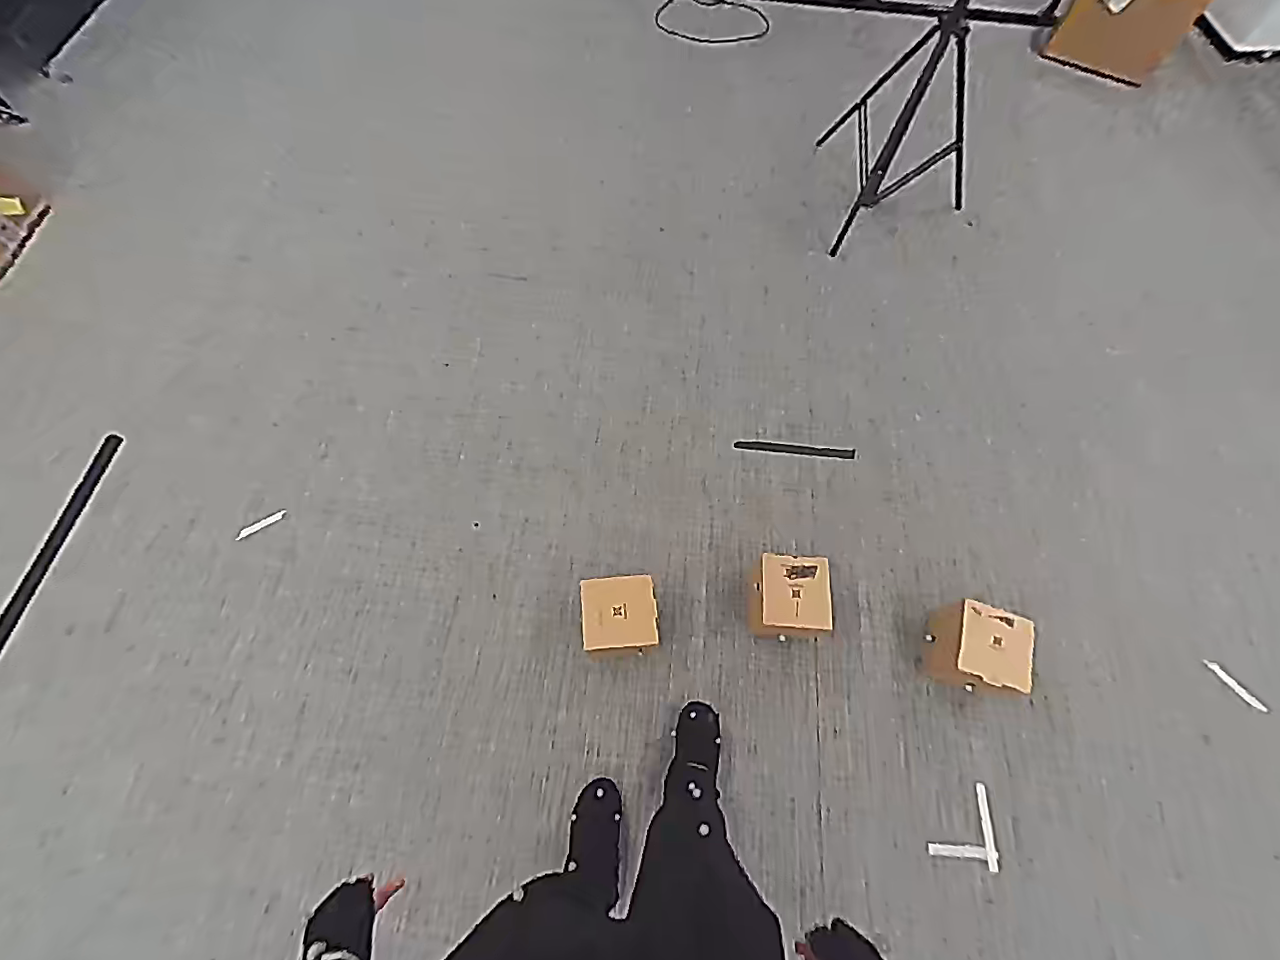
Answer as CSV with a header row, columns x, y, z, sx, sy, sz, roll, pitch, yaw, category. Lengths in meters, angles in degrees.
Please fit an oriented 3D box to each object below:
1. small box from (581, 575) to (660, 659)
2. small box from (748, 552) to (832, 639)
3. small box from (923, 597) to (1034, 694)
x,y,z,sx,sy,sz,roll,pitch,yaw,category
-0.050,0.341,1.334,0.179,0.176,0.168,-5,65,-3,small box
0.370,0.294,1.363,0.168,0.176,0.179,5,67,0,small box
0.823,0.412,1.327,0.168,0.176,0.179,19,68,6,small box
